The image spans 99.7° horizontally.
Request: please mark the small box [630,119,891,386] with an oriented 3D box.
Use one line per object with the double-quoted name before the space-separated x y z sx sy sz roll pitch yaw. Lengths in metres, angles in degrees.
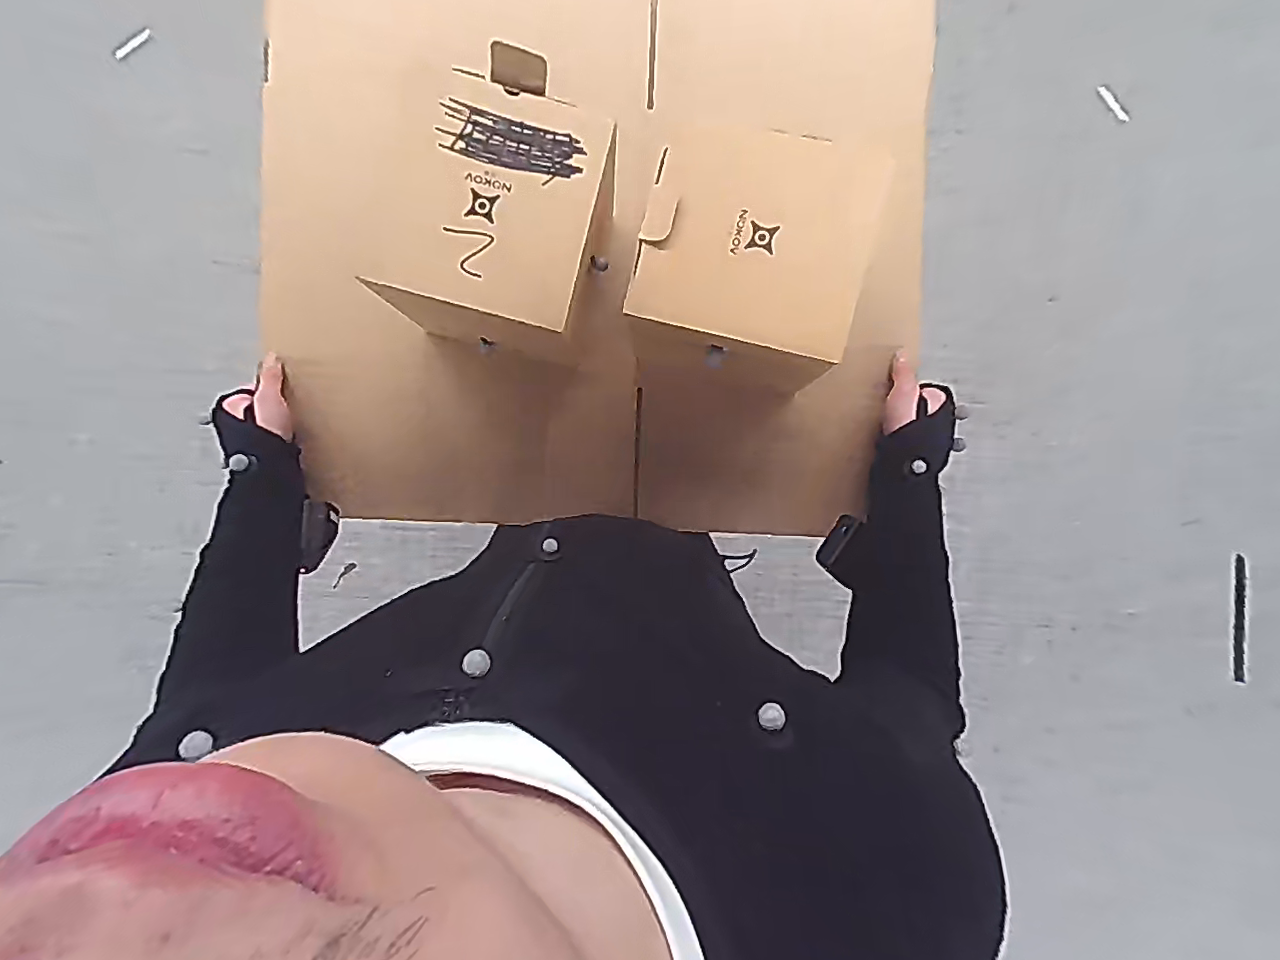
"small box" 0.102 -0.194 0.512 0.179 0.176 0.168 14 92 5
